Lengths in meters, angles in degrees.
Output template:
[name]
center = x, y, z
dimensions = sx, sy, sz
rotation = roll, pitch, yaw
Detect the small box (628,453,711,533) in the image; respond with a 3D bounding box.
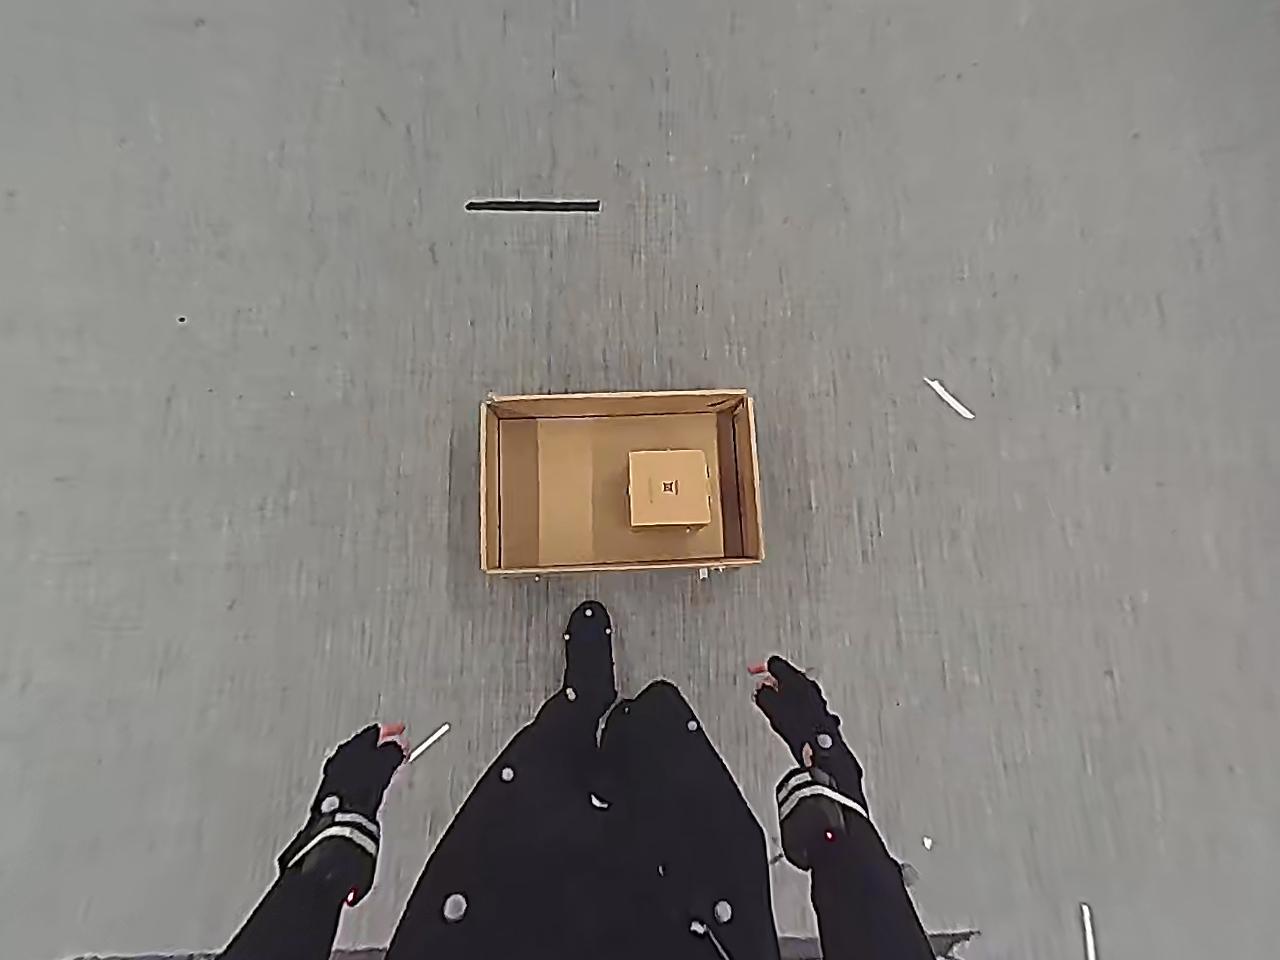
[small box]
center = 0.062, 0.034, 1.259
dimensions = 0.179, 0.176, 0.168
rotation = -2, 80, -2
